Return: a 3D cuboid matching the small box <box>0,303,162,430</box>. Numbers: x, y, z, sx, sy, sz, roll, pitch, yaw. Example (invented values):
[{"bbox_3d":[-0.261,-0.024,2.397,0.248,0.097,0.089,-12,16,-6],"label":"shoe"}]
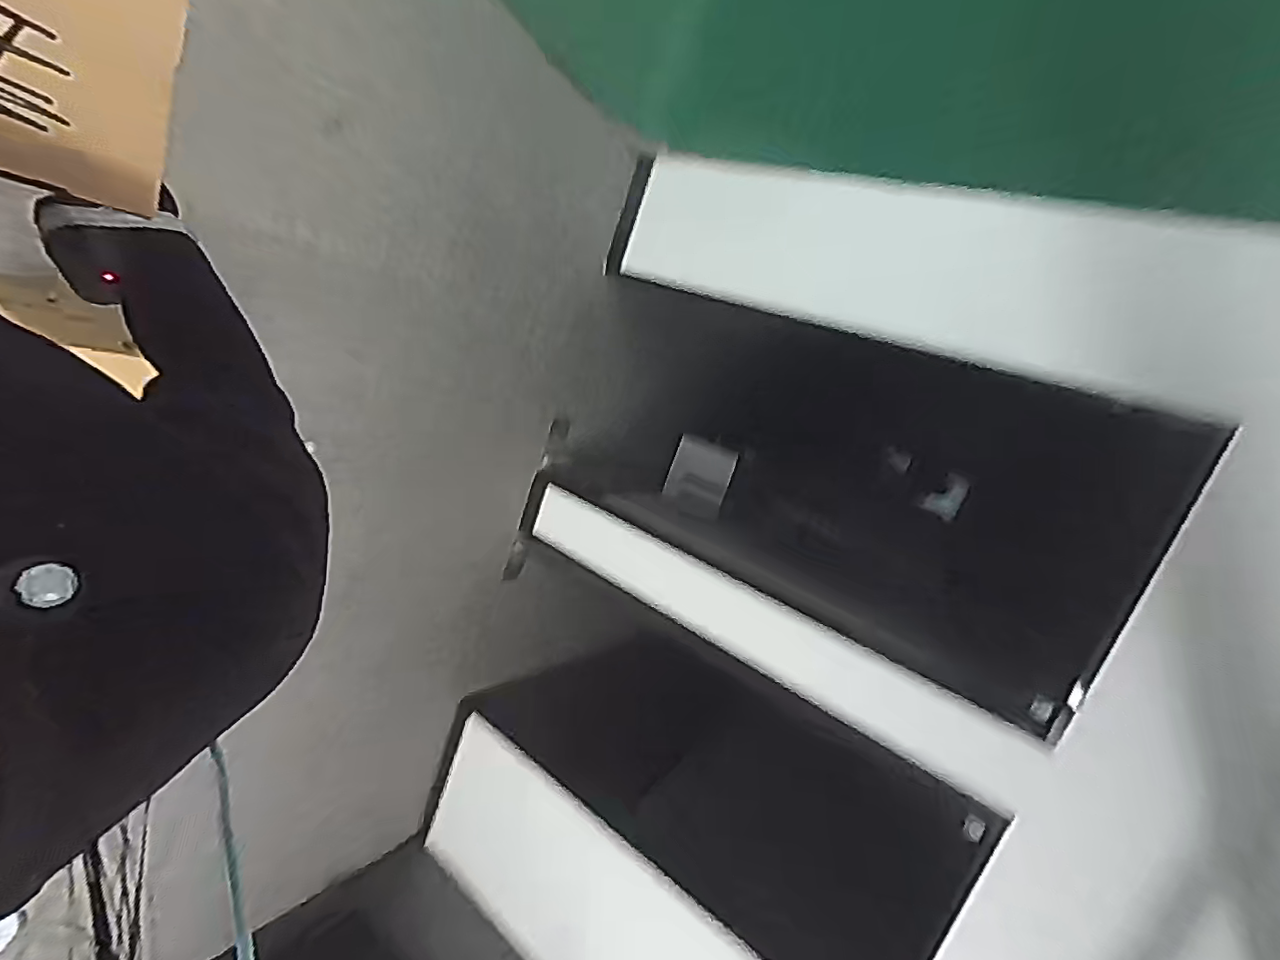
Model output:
[{"bbox_3d":[-0.962,-0.184,0.930,0.168,0.176,0.179,-1,111,-60],"label":"small box"}]
